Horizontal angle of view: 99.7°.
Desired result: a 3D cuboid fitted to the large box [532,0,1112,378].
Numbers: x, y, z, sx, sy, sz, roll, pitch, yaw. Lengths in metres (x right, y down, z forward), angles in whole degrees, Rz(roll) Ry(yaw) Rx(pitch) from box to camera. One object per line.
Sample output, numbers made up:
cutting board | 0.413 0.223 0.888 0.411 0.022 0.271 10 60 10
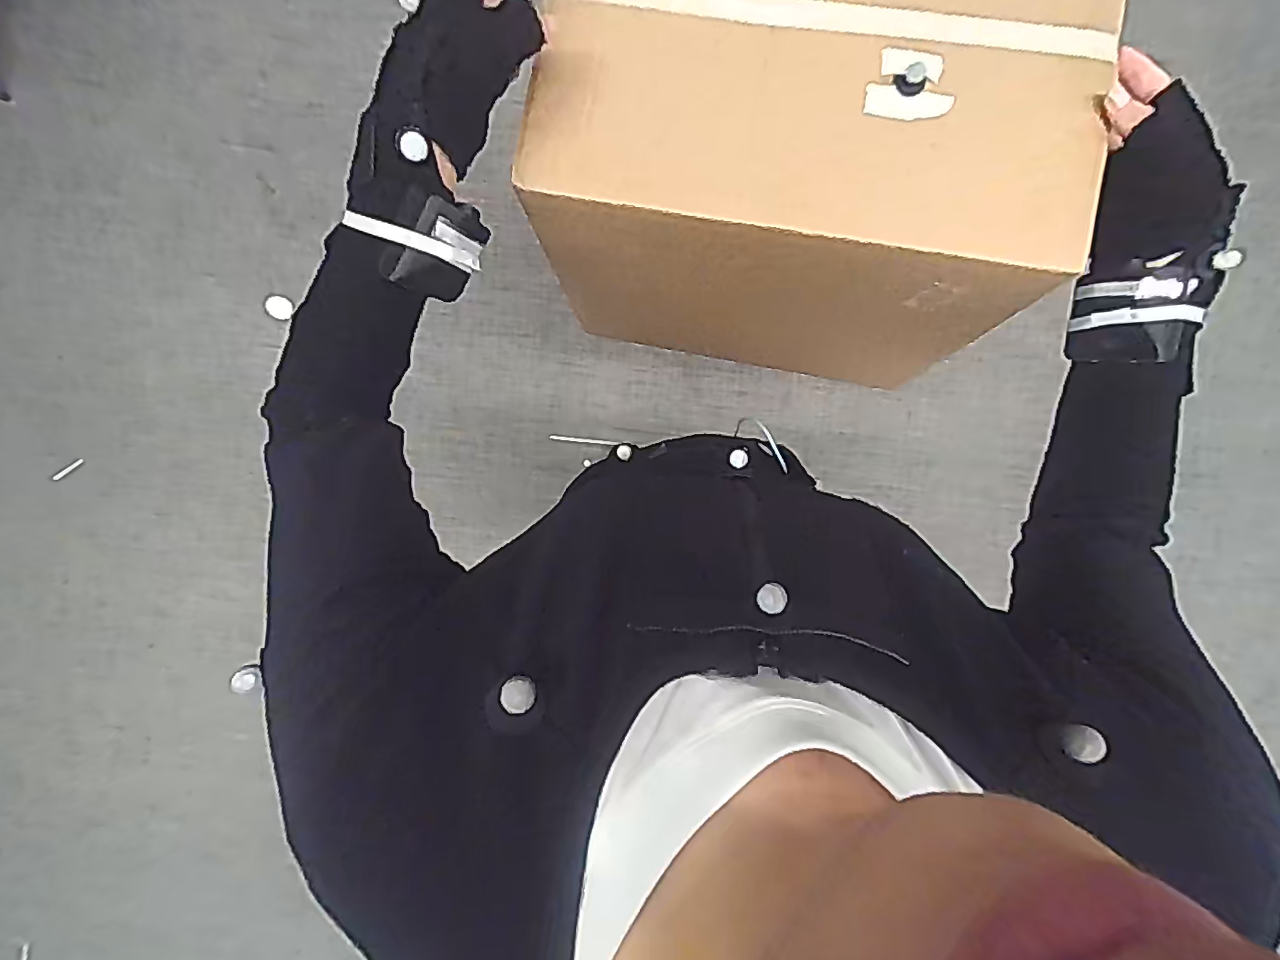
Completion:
large box | 0.147 -0.322 0.555 0.408 0.320 0.320 11 86 5
